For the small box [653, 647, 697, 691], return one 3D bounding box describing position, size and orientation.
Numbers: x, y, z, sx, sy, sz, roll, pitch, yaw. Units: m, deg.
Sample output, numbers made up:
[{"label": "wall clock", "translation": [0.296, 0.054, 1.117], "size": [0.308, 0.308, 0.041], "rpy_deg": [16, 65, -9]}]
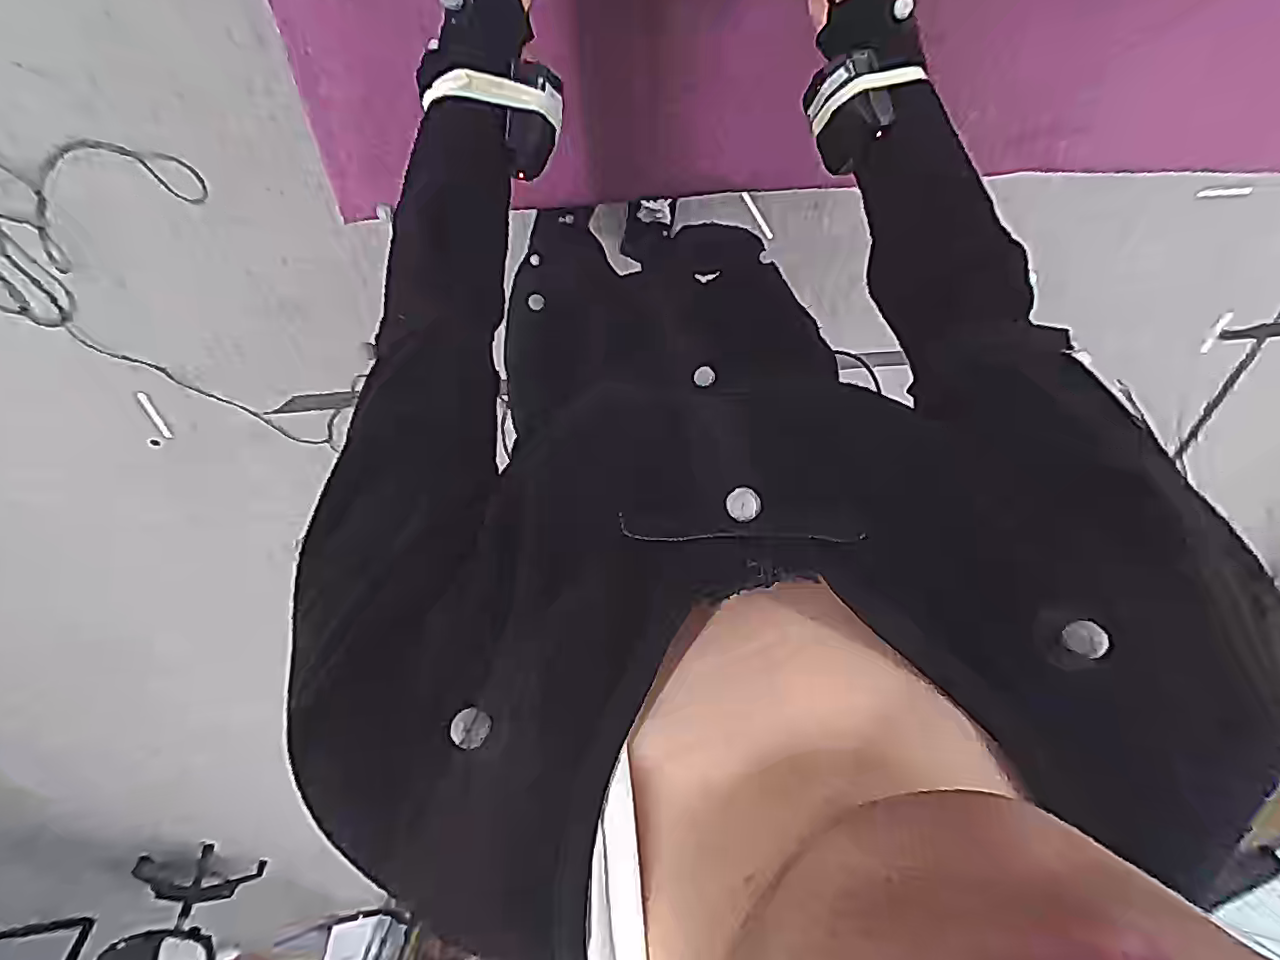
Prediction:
[{"label": "small box", "translation": [0.155, 0.849, 2.373], "size": [0.168, 0.176, 0.179], "rpy_deg": [-9, 129, -2]}]
